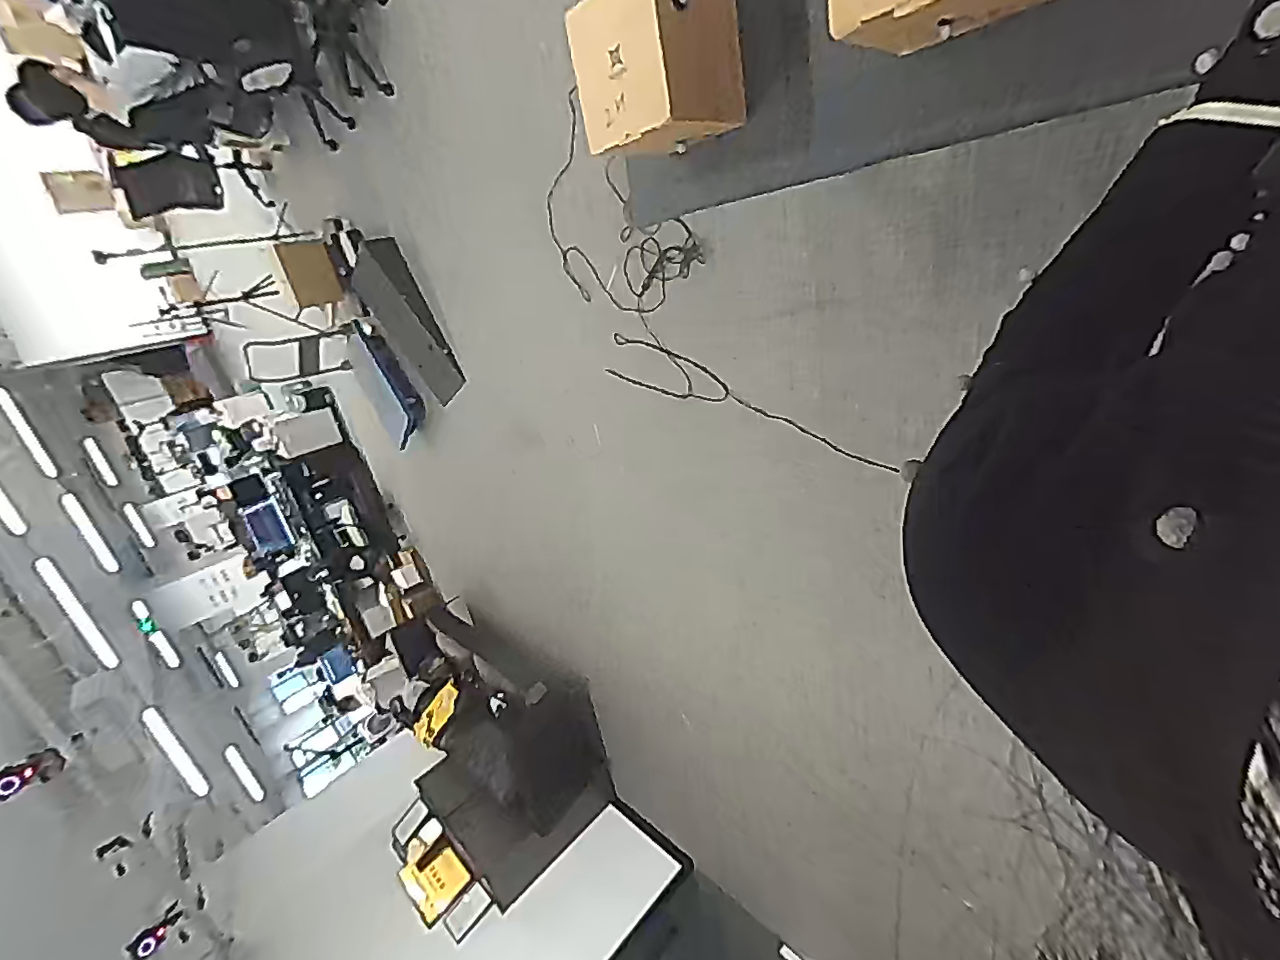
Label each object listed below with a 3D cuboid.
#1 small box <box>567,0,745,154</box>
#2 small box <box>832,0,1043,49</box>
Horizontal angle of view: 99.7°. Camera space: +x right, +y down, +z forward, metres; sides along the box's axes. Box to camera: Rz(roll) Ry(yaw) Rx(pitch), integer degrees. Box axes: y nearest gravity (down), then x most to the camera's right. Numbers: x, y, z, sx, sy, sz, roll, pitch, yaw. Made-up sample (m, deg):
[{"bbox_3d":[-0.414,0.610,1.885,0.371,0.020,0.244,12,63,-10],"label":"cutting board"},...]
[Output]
[{"bbox_3d":[0.028,-0.574,0.756,0.168,0.176,0.179,12,121,45],"label":"small box"},{"bbox_3d":[0.287,-0.530,0.488,0.168,0.176,0.179,12,122,45],"label":"small box"}]
